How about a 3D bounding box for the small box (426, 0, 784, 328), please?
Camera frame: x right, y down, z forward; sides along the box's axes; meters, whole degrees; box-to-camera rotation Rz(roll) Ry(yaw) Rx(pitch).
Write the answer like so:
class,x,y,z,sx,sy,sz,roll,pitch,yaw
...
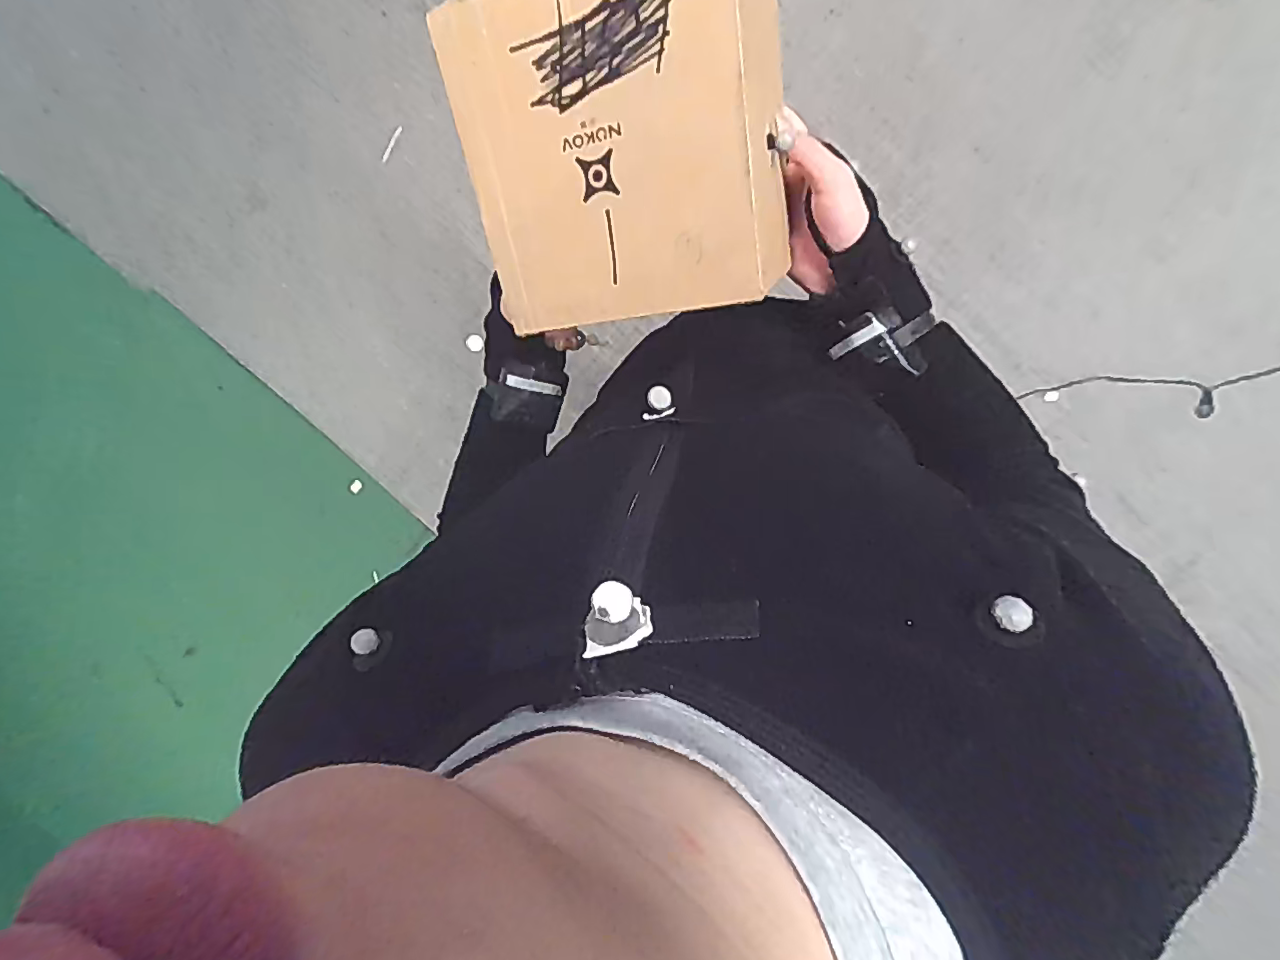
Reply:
class,x,y,z,sx,sy,sz,roll,pitch,yaw
small box,0.001,-0.212,0.359,0.168,0.176,0.179,0,117,22
